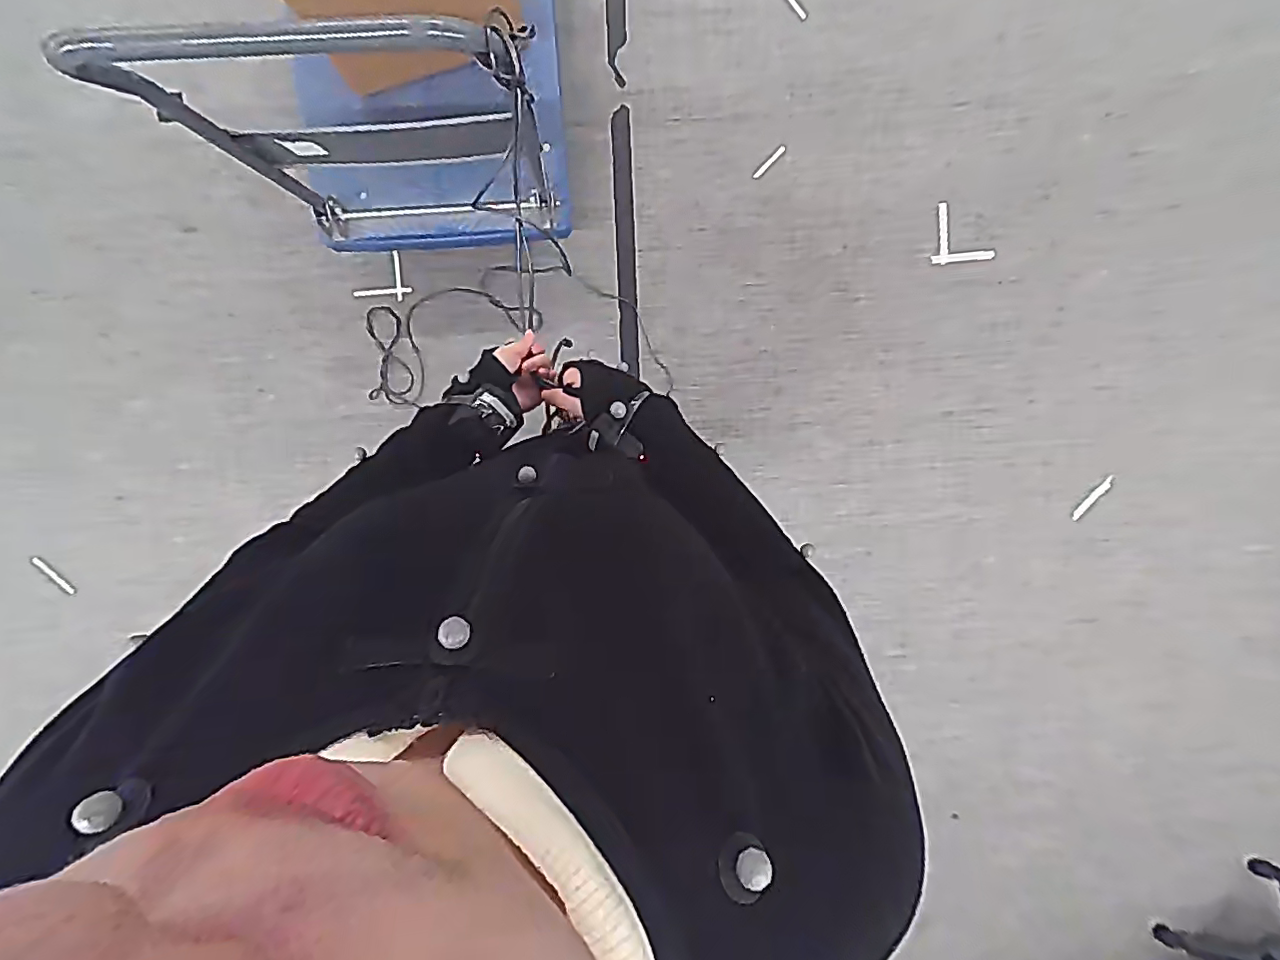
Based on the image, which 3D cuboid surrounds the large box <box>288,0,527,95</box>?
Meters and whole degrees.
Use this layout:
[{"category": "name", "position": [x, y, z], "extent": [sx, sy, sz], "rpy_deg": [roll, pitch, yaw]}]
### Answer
[{"category": "large box", "position": [-0.475, -1.038, 1.035], "extent": [0.408, 0.320, 0.320], "rpy_deg": [-18, 97, -1]}]
